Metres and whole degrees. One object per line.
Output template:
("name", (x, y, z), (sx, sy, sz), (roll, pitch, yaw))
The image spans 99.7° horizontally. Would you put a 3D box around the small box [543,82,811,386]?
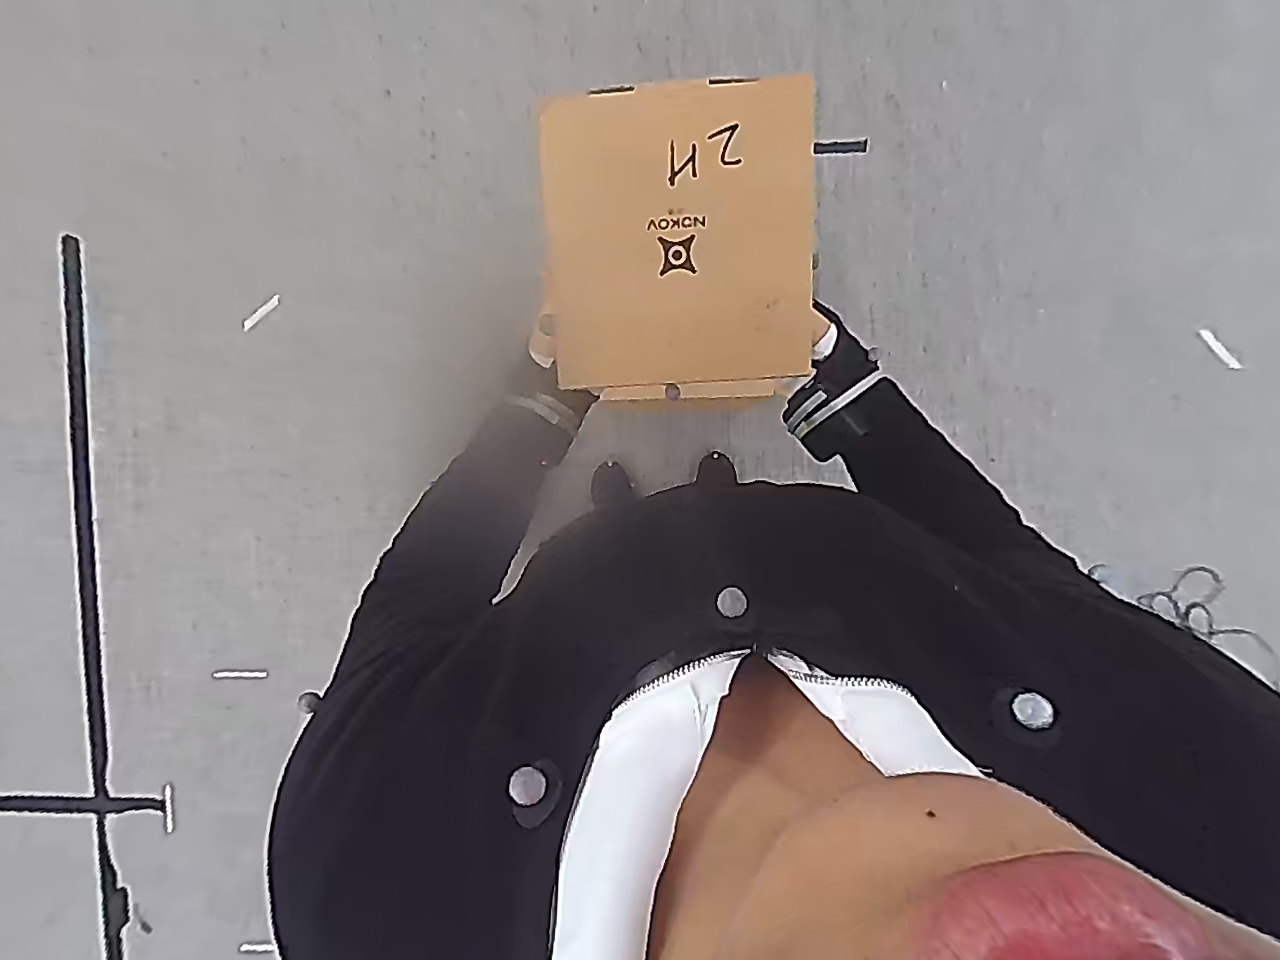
("small box", (0.026, -0.169, 0.422), (0.168, 0.176, 0.179), (-2, 102, 1))
